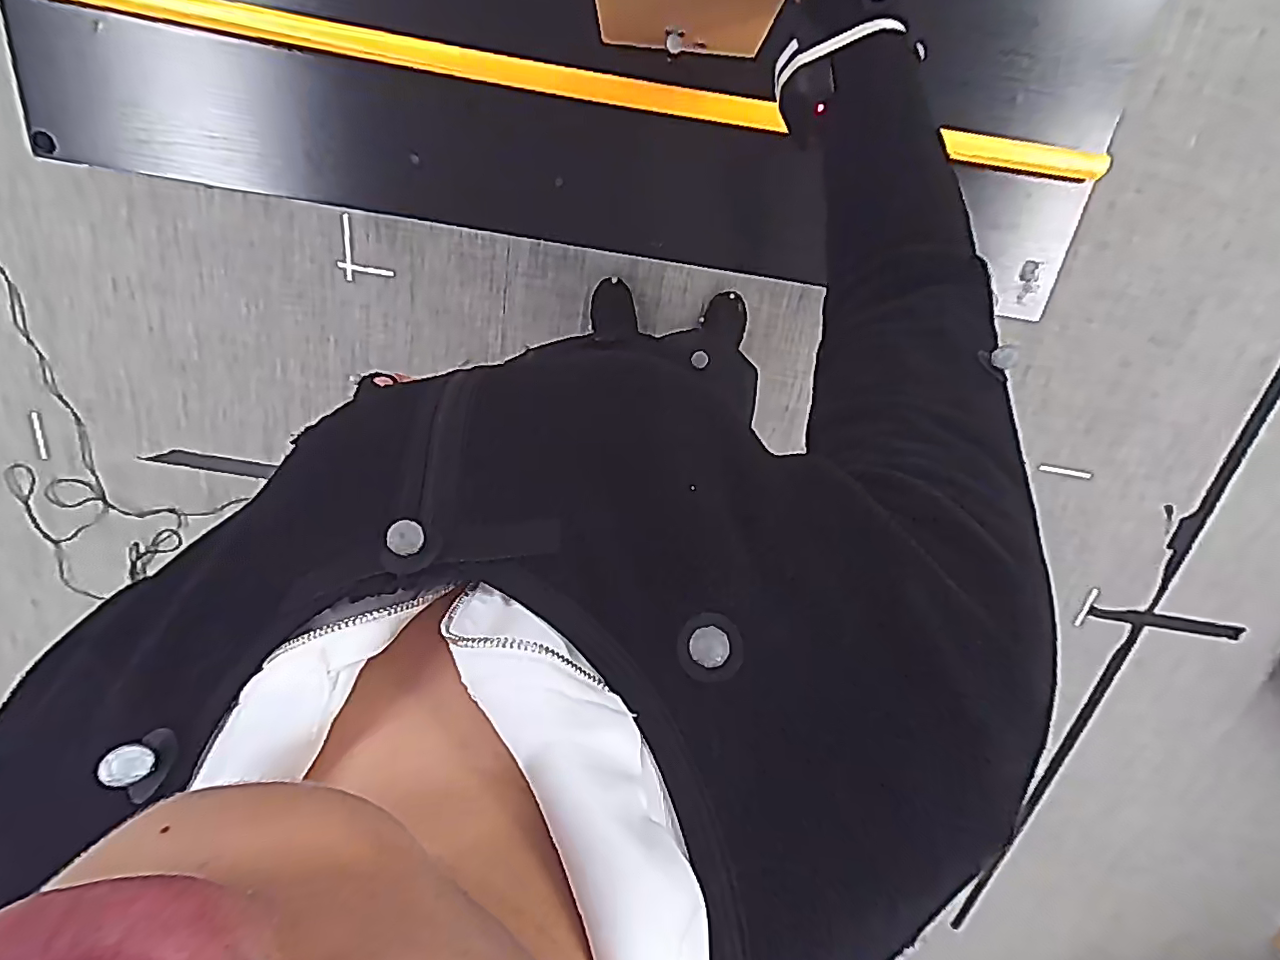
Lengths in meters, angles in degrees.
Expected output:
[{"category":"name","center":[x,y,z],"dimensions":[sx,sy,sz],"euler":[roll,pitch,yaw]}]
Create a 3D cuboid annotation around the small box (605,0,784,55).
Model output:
[{"category":"small box","center":[0.051,-0.517,0.476],"dimensions":[0.168,0.176,0.179],"euler":[5,112,-1]}]
